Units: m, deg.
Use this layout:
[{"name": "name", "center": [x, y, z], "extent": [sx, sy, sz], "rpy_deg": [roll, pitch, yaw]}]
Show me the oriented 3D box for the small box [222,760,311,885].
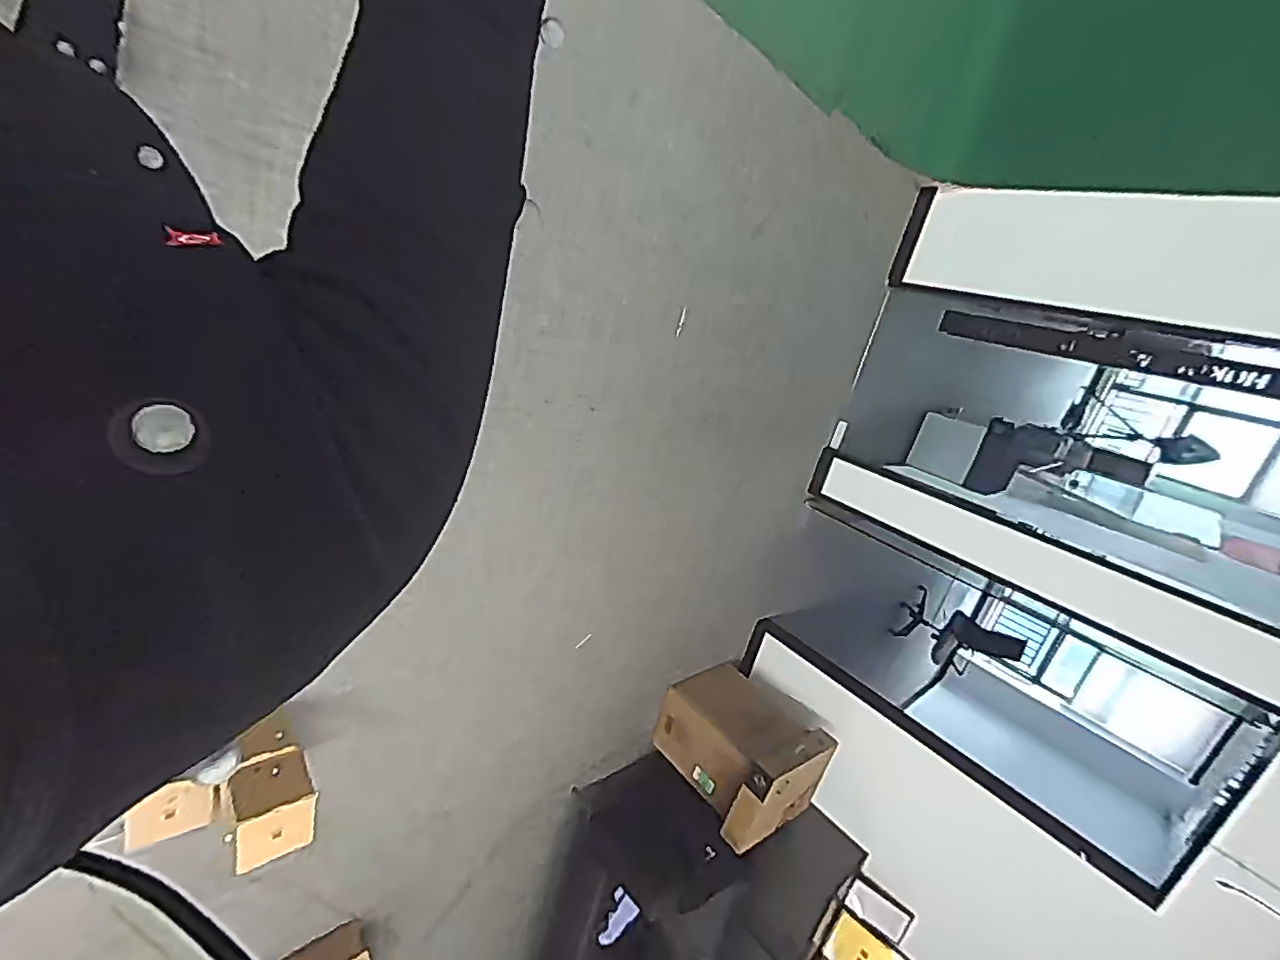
[{"name": "small box", "center": [-0.961, 0.868, 1.389], "extent": [0.168, 0.176, 0.179], "rpy_deg": [-4, 115, -43]}]
